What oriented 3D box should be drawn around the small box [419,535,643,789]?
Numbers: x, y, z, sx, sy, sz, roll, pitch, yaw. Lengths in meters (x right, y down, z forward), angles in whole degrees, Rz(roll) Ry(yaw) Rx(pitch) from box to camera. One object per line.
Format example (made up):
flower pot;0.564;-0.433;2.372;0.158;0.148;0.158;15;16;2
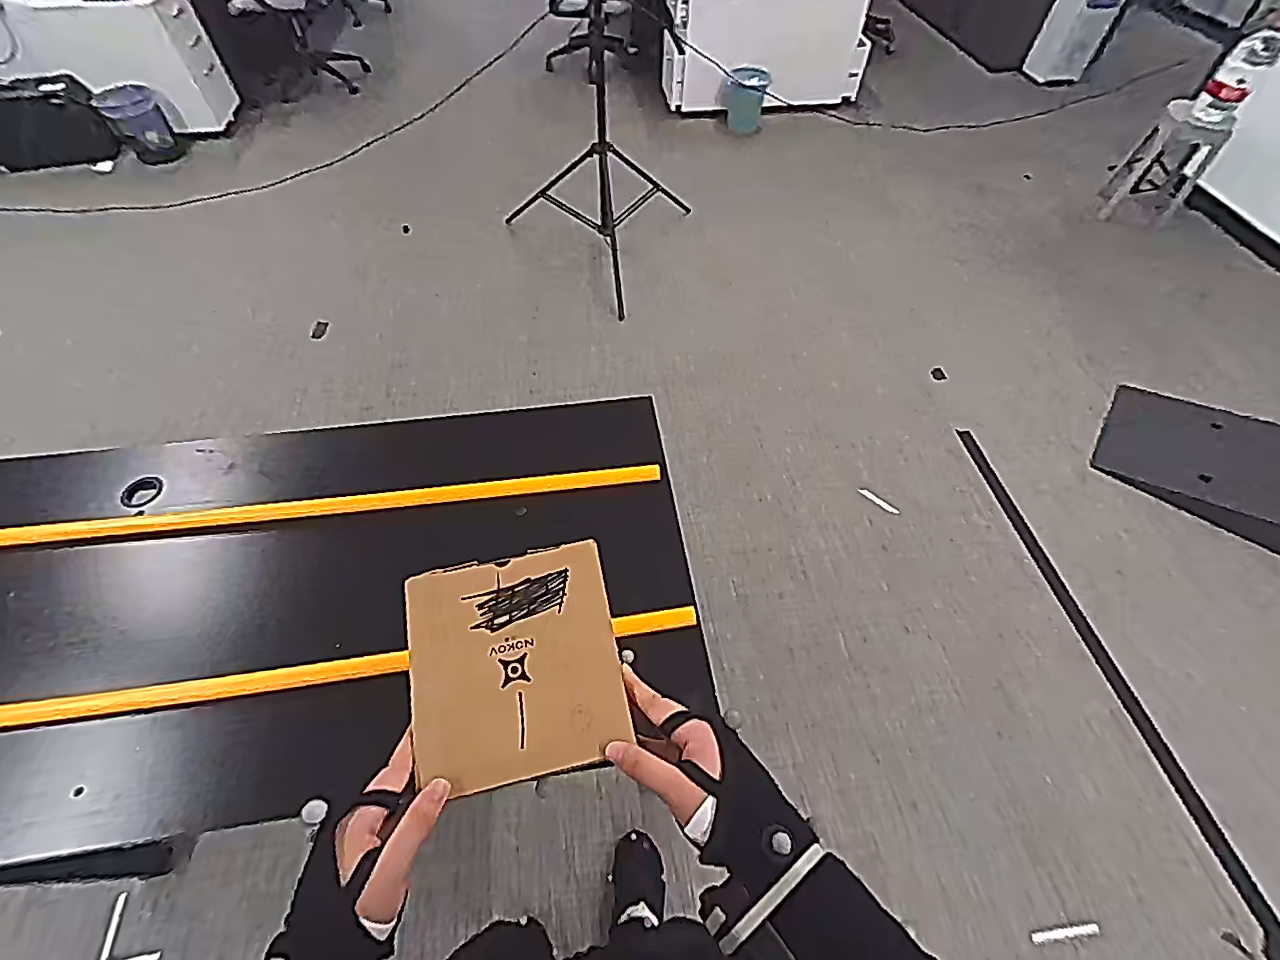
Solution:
small box;-0.099;0.176;0.515;0.168;0.176;0.179;-12;64;-7
